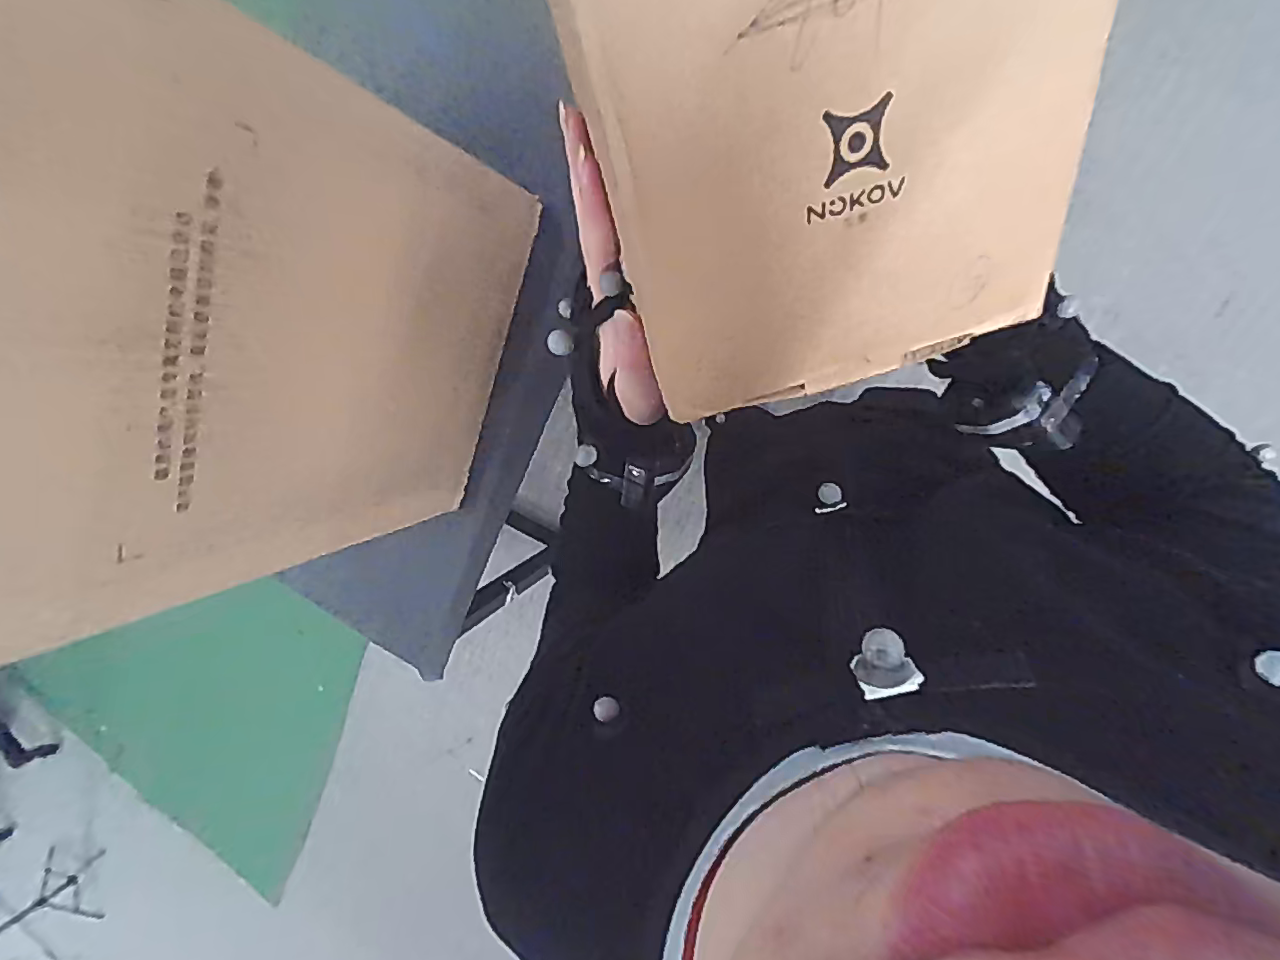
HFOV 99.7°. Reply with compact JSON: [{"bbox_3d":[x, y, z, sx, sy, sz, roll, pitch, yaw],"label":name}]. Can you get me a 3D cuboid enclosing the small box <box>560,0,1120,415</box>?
[{"bbox_3d":[0.065,-0.162,0.251,0.168,0.176,0.179,-16,129,2],"label":"small box"}]
